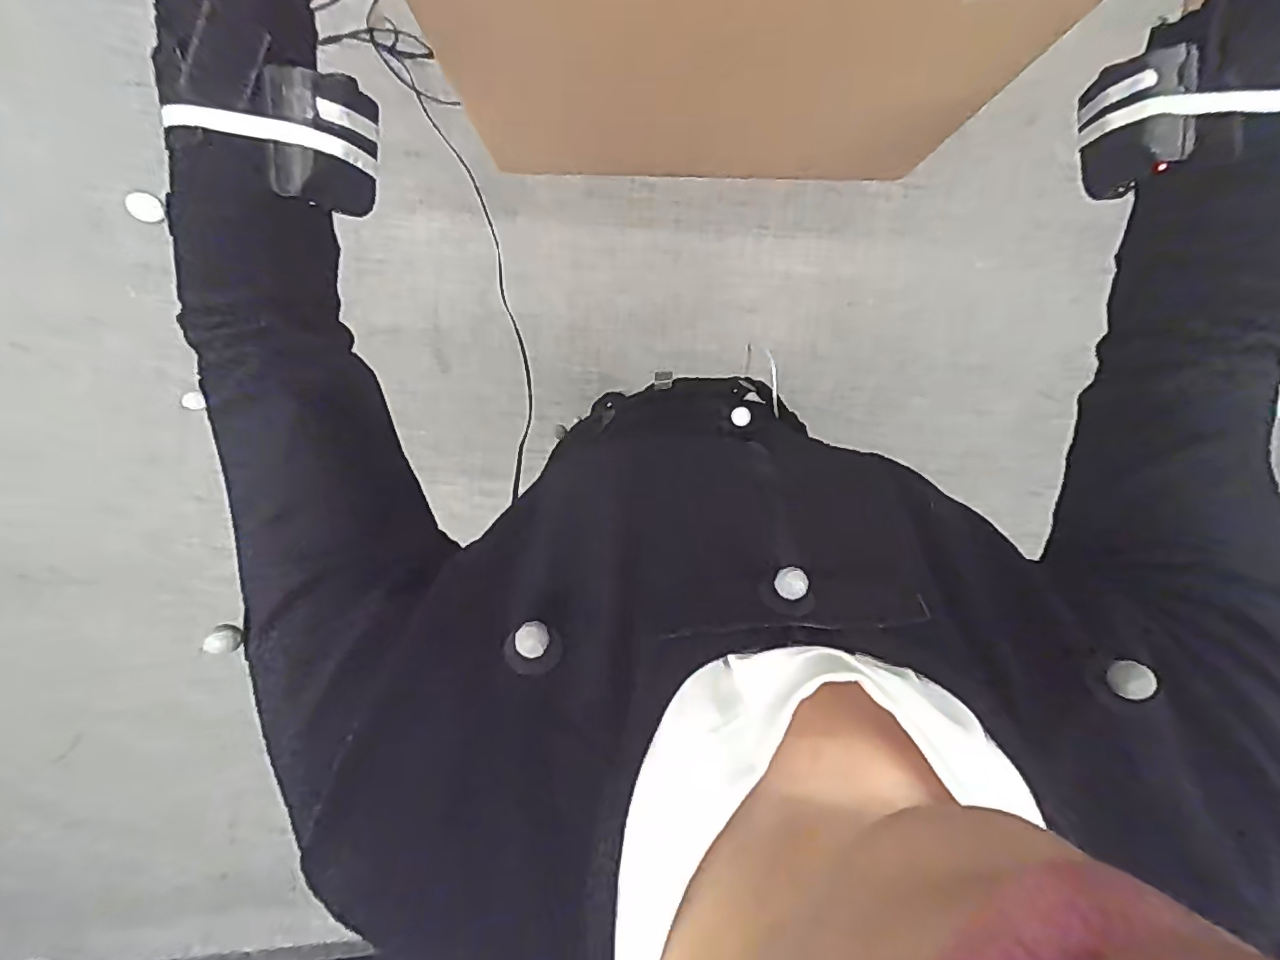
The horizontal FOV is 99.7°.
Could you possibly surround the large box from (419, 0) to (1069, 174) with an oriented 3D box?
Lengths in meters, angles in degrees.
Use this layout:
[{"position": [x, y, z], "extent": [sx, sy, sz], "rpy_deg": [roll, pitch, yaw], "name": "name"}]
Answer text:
[{"position": [0.060, -0.439, 0.372], "extent": [0.408, 0.320, 0.320], "rpy_deg": [0, 97, -1], "name": "large box"}]
